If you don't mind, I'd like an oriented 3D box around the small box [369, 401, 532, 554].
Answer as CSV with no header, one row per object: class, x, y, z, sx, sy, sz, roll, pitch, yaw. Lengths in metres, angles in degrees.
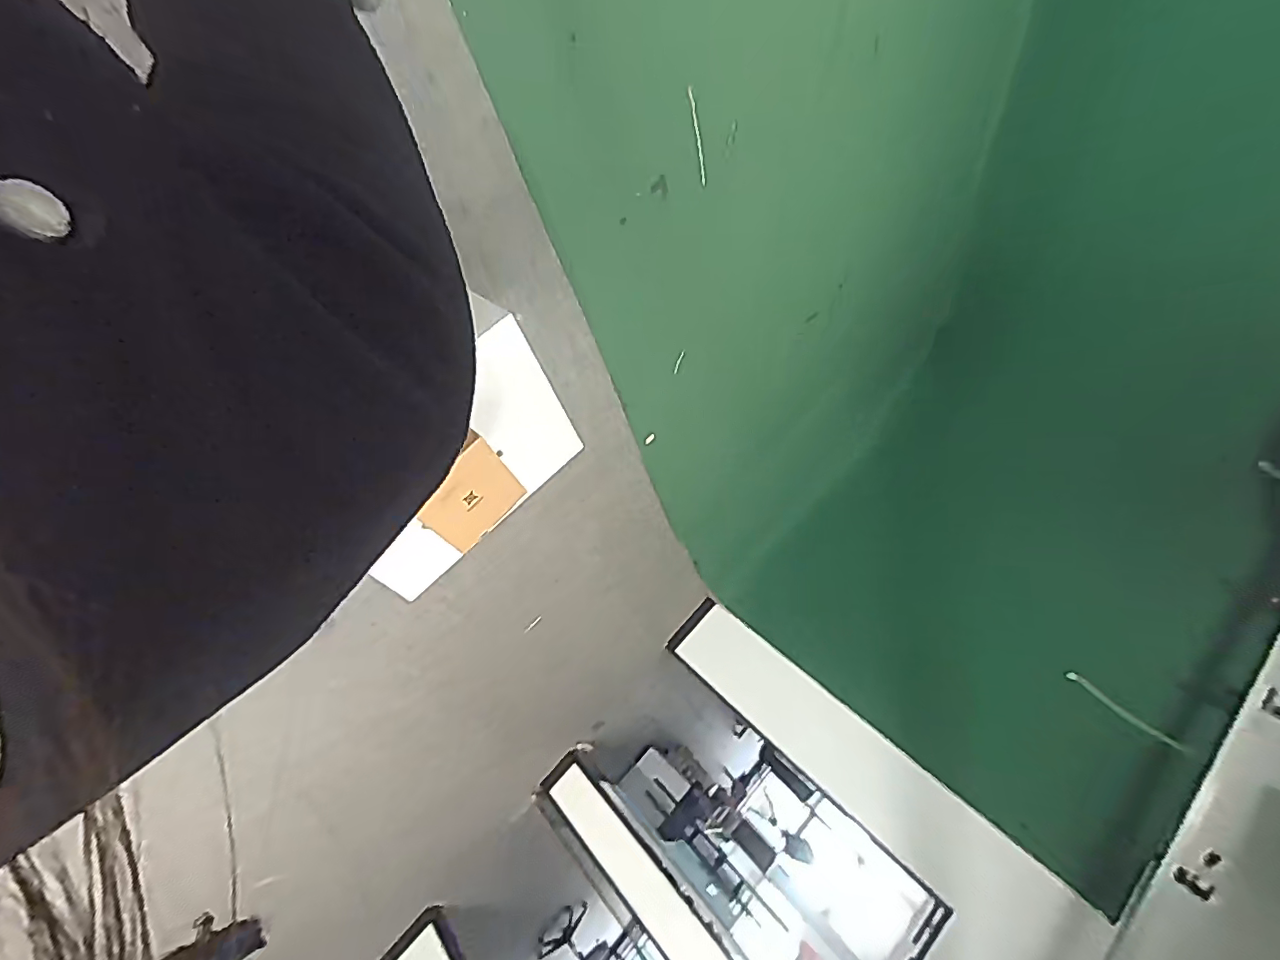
small box,-0.330,-0.008,0.950,0.168,0.176,0.179,-46,144,-12
